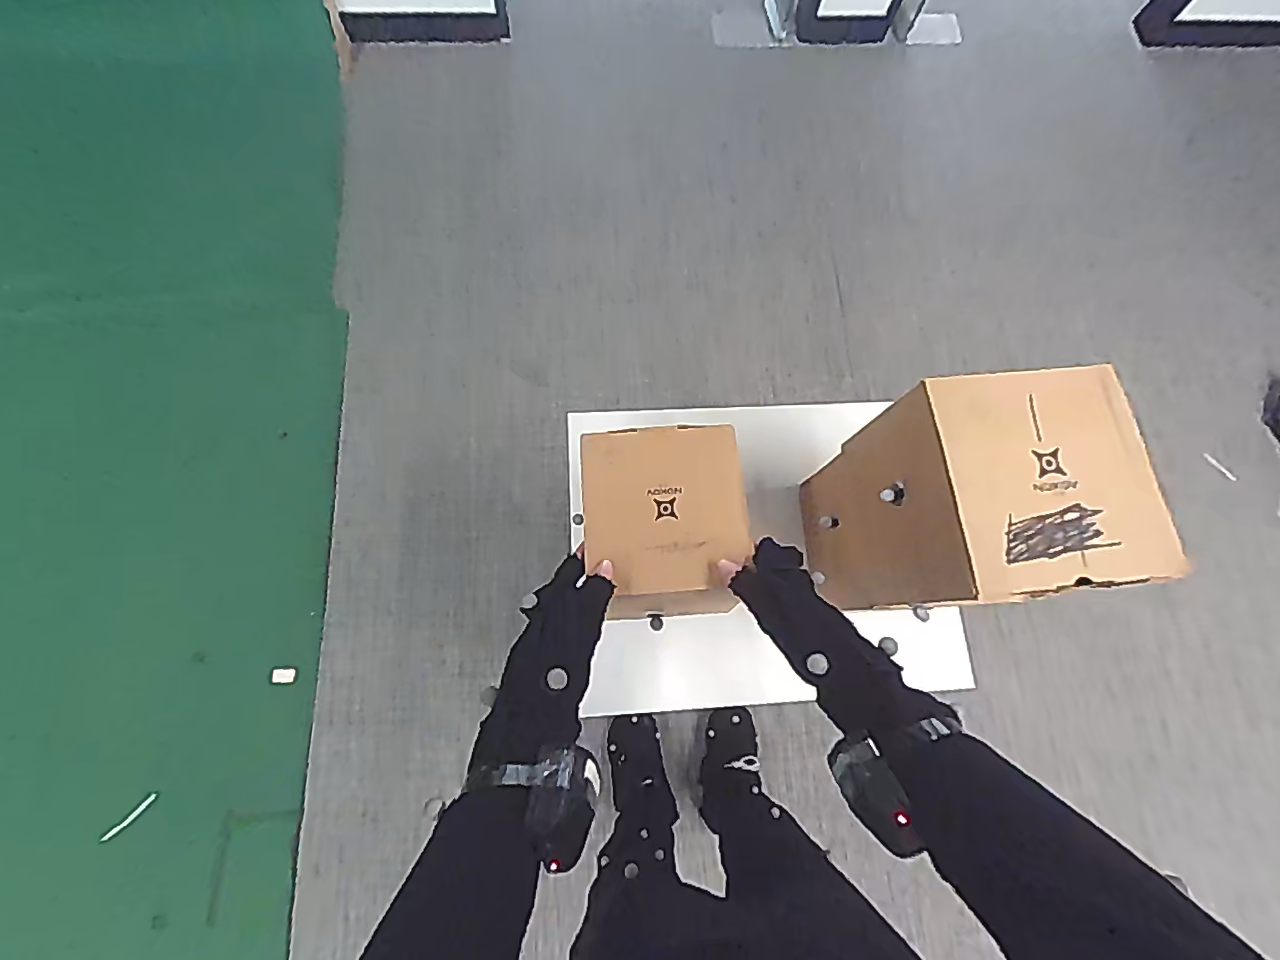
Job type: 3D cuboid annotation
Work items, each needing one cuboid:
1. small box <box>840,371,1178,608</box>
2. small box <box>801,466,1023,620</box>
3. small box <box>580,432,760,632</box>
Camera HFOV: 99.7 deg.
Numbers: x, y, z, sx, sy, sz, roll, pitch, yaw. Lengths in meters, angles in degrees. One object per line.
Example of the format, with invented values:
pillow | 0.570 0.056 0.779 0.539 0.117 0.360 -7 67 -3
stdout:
small box | 0.306 0.022 0.494 0.168 0.176 0.179 -6 74 -4
small box | 0.306 0.072 0.651 0.168 0.176 0.179 -3 74 -3
small box | 0.024 0.066 0.611 0.168 0.176 0.179 -6 68 -2
